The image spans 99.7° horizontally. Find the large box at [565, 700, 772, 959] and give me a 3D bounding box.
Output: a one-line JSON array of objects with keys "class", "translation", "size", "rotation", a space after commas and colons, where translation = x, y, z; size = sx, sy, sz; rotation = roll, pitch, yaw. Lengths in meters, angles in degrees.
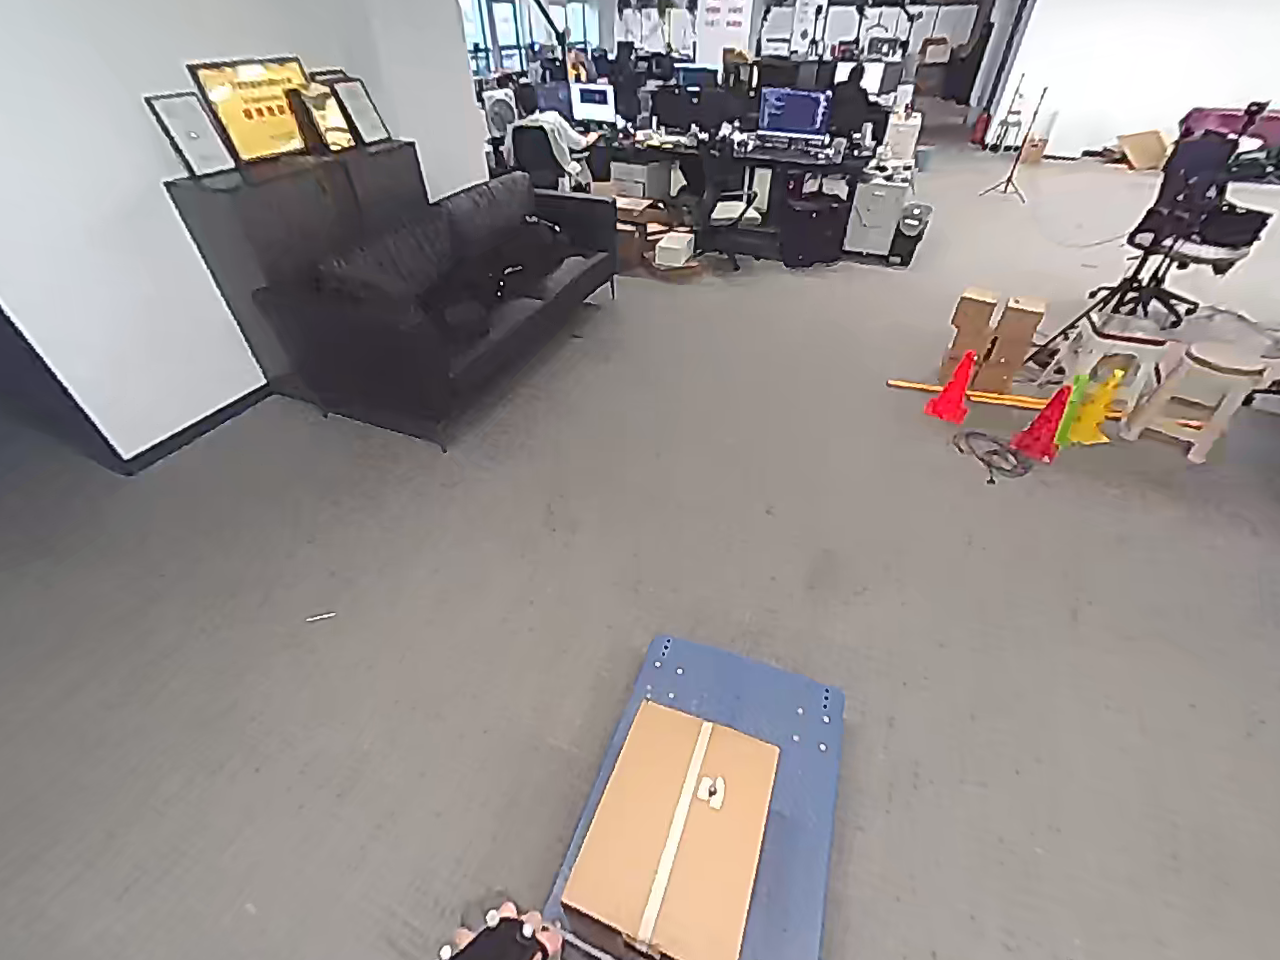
[{"class": "large box", "translation": [0.076, 0.767, 1.144], "size": [0.320, 0.320, 0.408], "rotation": [14, 41, 16]}]
